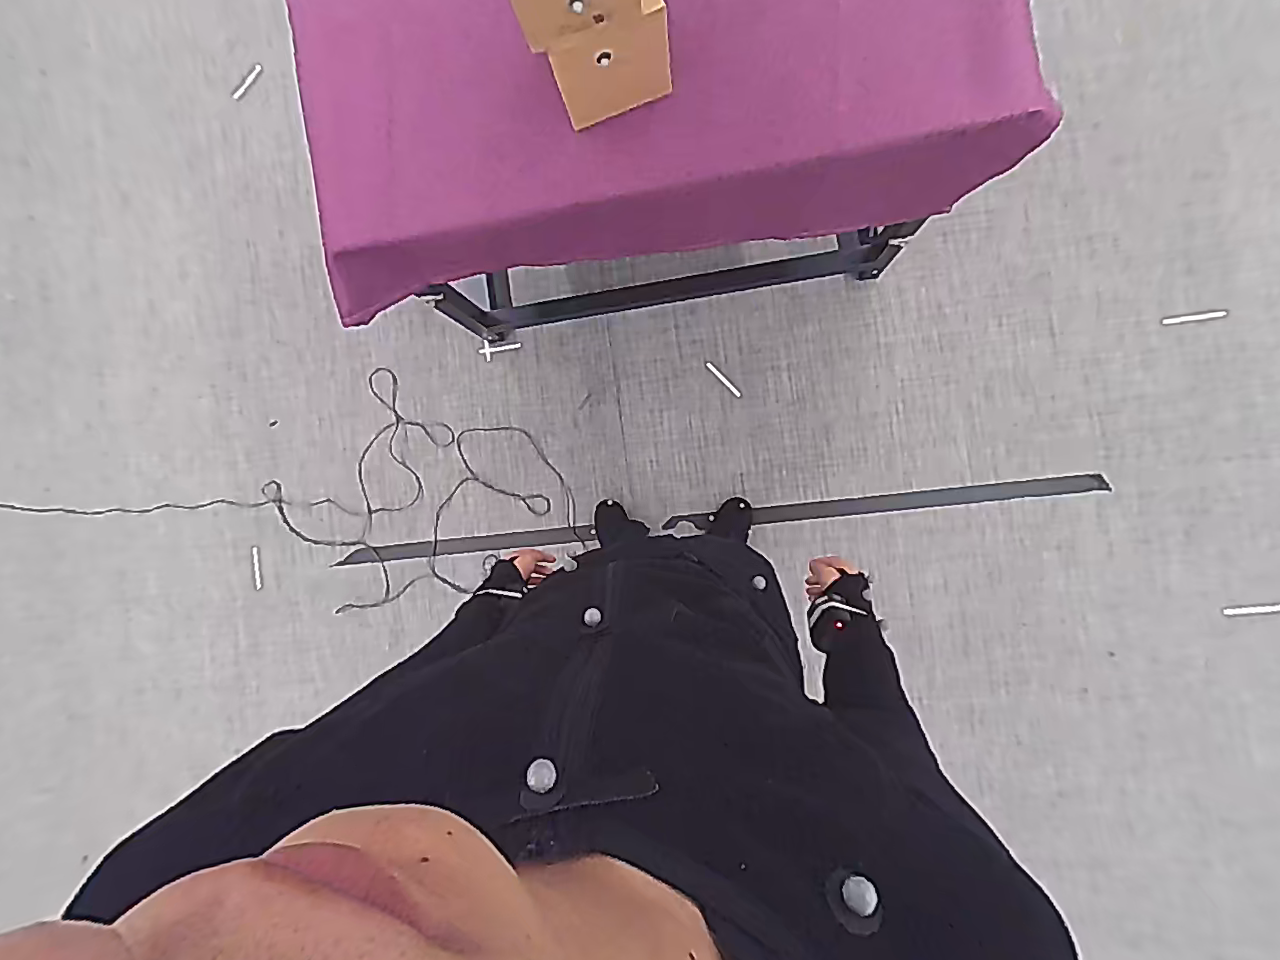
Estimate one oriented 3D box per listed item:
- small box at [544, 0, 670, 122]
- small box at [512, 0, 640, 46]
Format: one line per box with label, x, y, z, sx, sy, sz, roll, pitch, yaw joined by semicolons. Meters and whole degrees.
small box;-0.062;-0.699;0.830;0.179;0.176;0.168;-18;88;5
small box;-0.102;-0.703;0.669;0.168;0.176;0.179;-13;88;7
